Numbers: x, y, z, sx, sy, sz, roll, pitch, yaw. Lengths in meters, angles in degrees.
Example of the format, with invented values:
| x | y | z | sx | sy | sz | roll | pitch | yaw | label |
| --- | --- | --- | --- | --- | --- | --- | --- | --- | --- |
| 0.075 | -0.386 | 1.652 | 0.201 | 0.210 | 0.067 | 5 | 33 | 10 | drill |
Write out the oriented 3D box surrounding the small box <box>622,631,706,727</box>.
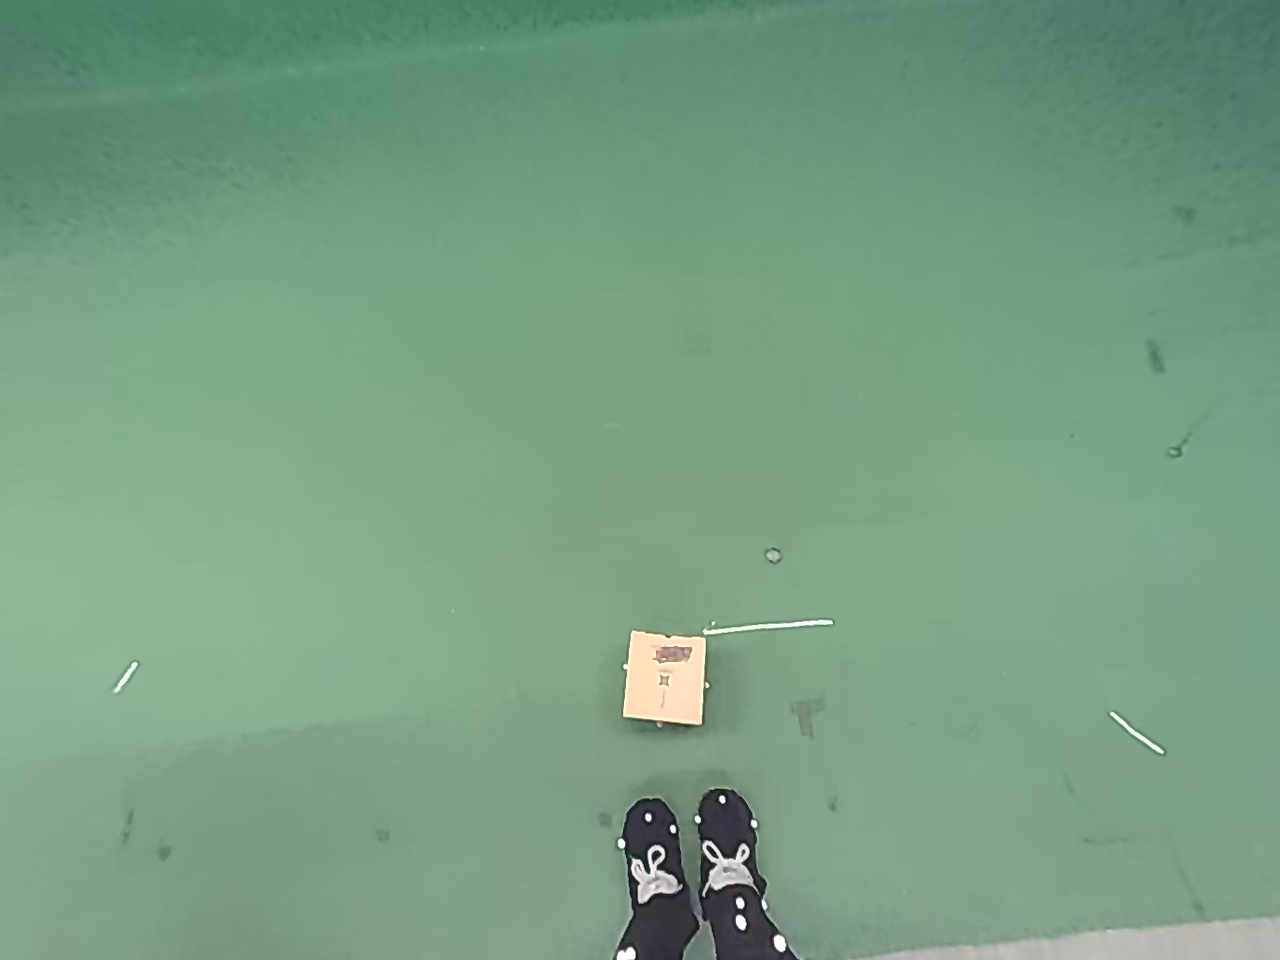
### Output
| x | y | z | sx | sy | sz | roll | pitch | yaw | label |
| --- | --- | --- | --- | --- | --- | --- | --- | --- | --- |
| 0.055 | 0.443 | 1.205 | 0.168 | 0.176 | 0.179 | 4 | 69 | 5 | small box |
